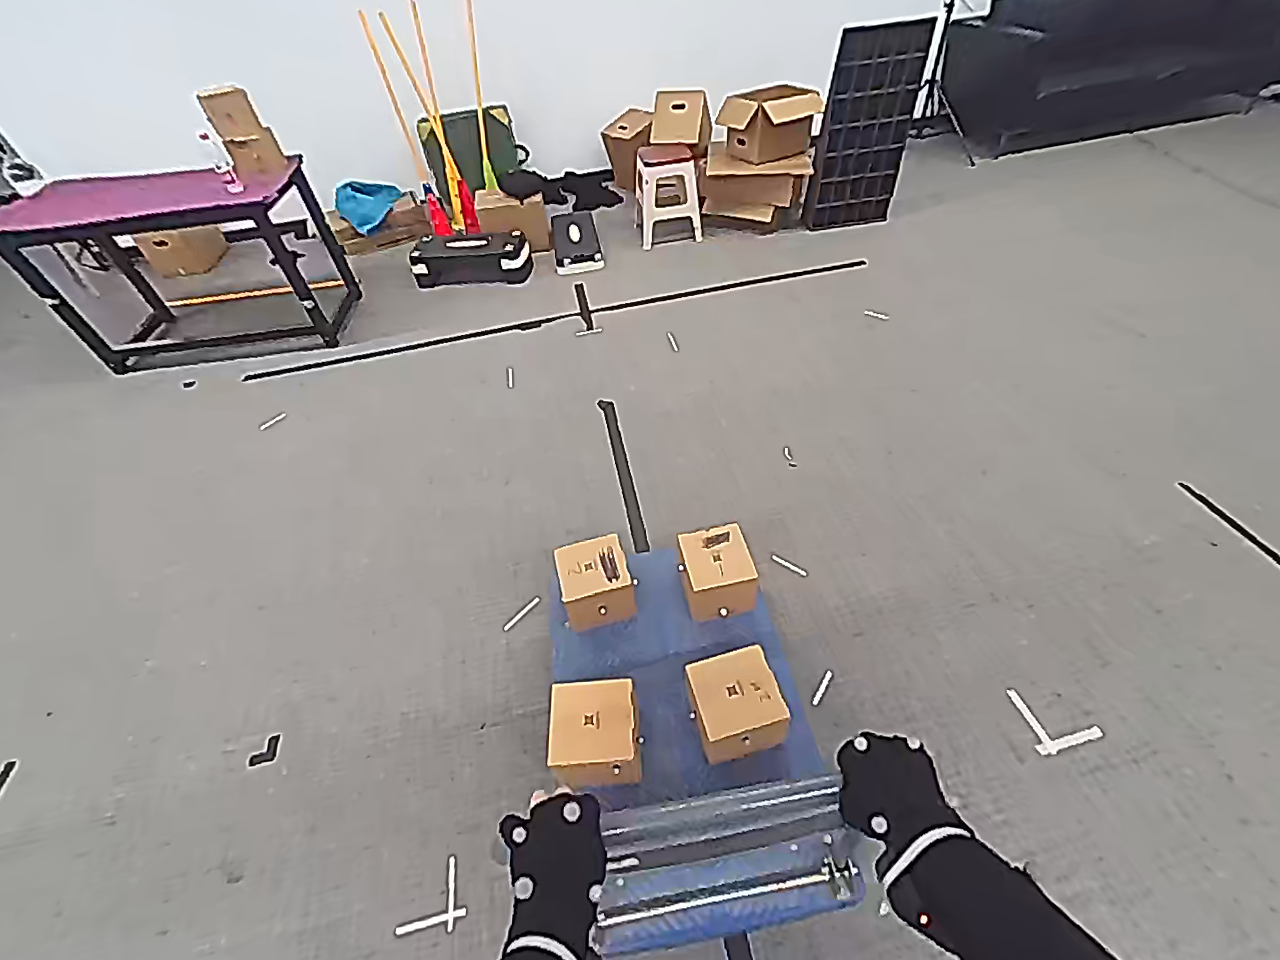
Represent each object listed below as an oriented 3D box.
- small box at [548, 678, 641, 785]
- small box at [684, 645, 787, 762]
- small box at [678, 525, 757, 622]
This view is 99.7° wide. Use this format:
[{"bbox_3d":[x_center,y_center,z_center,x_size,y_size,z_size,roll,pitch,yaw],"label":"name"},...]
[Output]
[{"bbox_3d":[-0.094,0.555,1.186,0.179,0.176,0.168,-5,47,1],"label":"small box"},{"bbox_3d":[0.208,0.498,1.199,0.179,0.176,0.168,-14,47,-6],"label":"small box"},{"bbox_3d":[0.198,0.249,1.433,0.168,0.176,0.179,-12,48,-4],"label":"small box"}]
